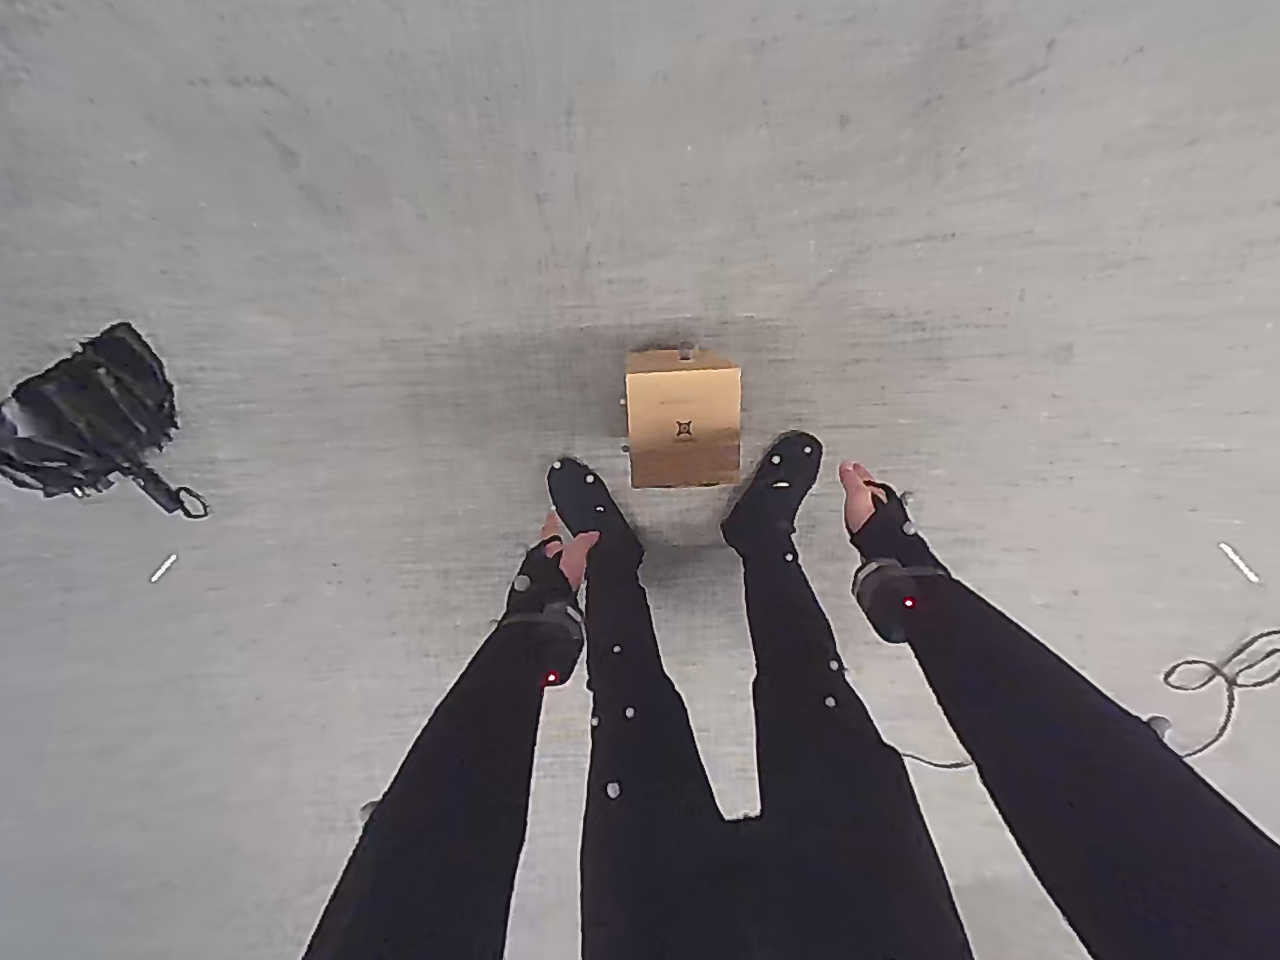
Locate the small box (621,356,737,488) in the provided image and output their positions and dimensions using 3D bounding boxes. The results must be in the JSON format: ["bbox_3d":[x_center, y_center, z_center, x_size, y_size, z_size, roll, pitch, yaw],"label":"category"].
[{"bbox_3d":[0.061,-0.098,0.864,0.168,0.176,0.179,-4,107,2],"label":"small box"}]
